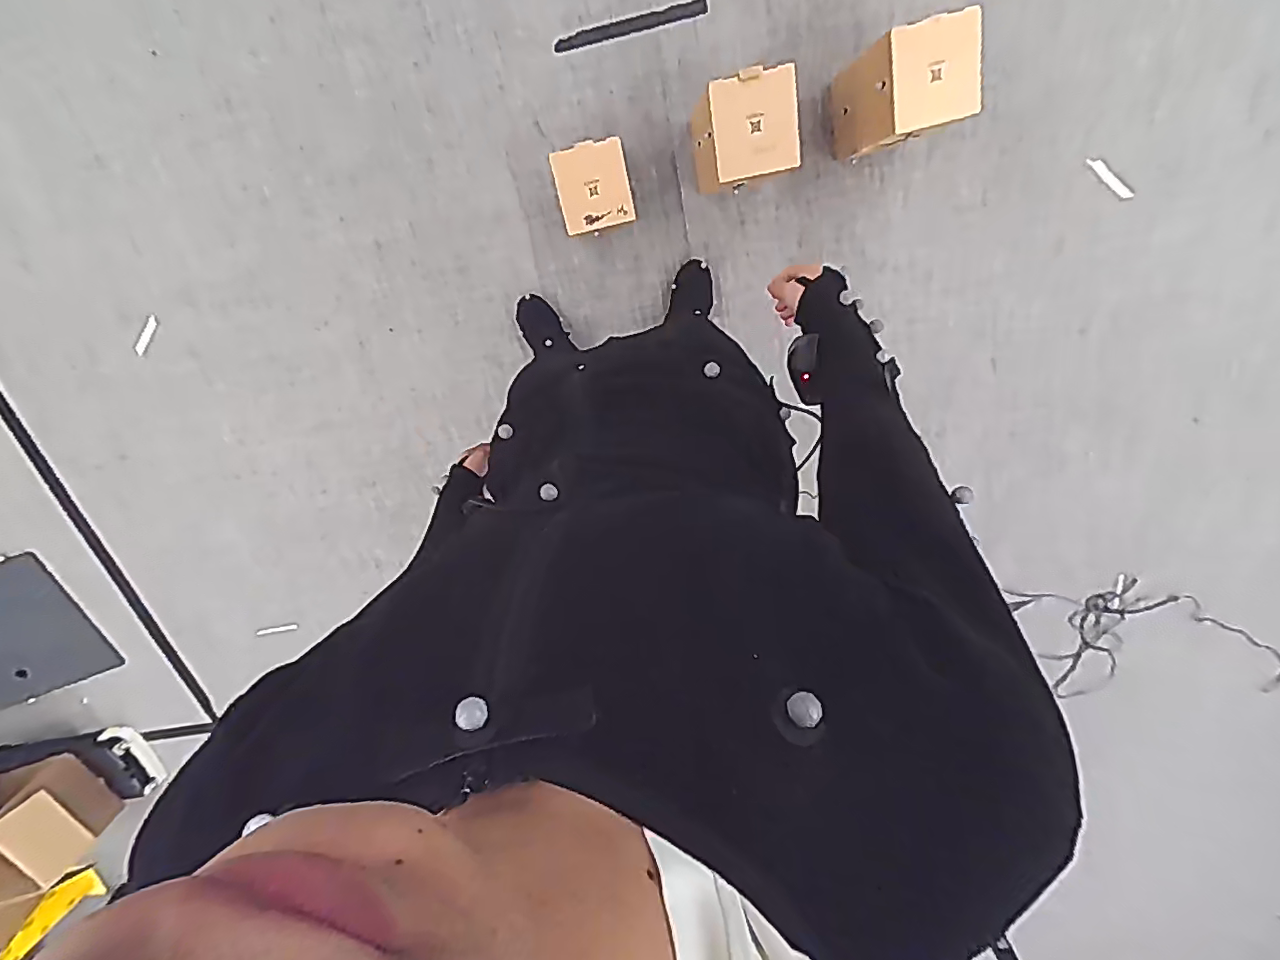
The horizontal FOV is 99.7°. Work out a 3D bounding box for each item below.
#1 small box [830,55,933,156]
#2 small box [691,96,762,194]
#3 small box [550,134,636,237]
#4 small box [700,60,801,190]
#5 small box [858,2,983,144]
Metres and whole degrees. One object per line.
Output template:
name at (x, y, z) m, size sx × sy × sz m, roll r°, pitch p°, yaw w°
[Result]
small box at (0.548, -0.858, 1.231) m, size 0.168 × 0.176 × 0.179 m, roll -13°, pitch 112°, yaw 5°
small box at (0.217, -0.784, 1.256) m, size 0.168 × 0.176 × 0.179 m, roll -10°, pitch 113°, yaw 4°
small box at (-0.107, -0.693, 1.293) m, size 0.168 × 0.176 × 0.179 m, roll -11°, pitch 112°, yaw 5°
small box at (0.221, -0.714, 1.108) m, size 0.168 × 0.176 × 0.179 m, roll -10°, pitch 113°, yaw 4°
small box at (0.553, -0.795, 1.081) m, size 0.168 × 0.176 × 0.179 m, roll -13°, pitch 112°, yaw 4°
